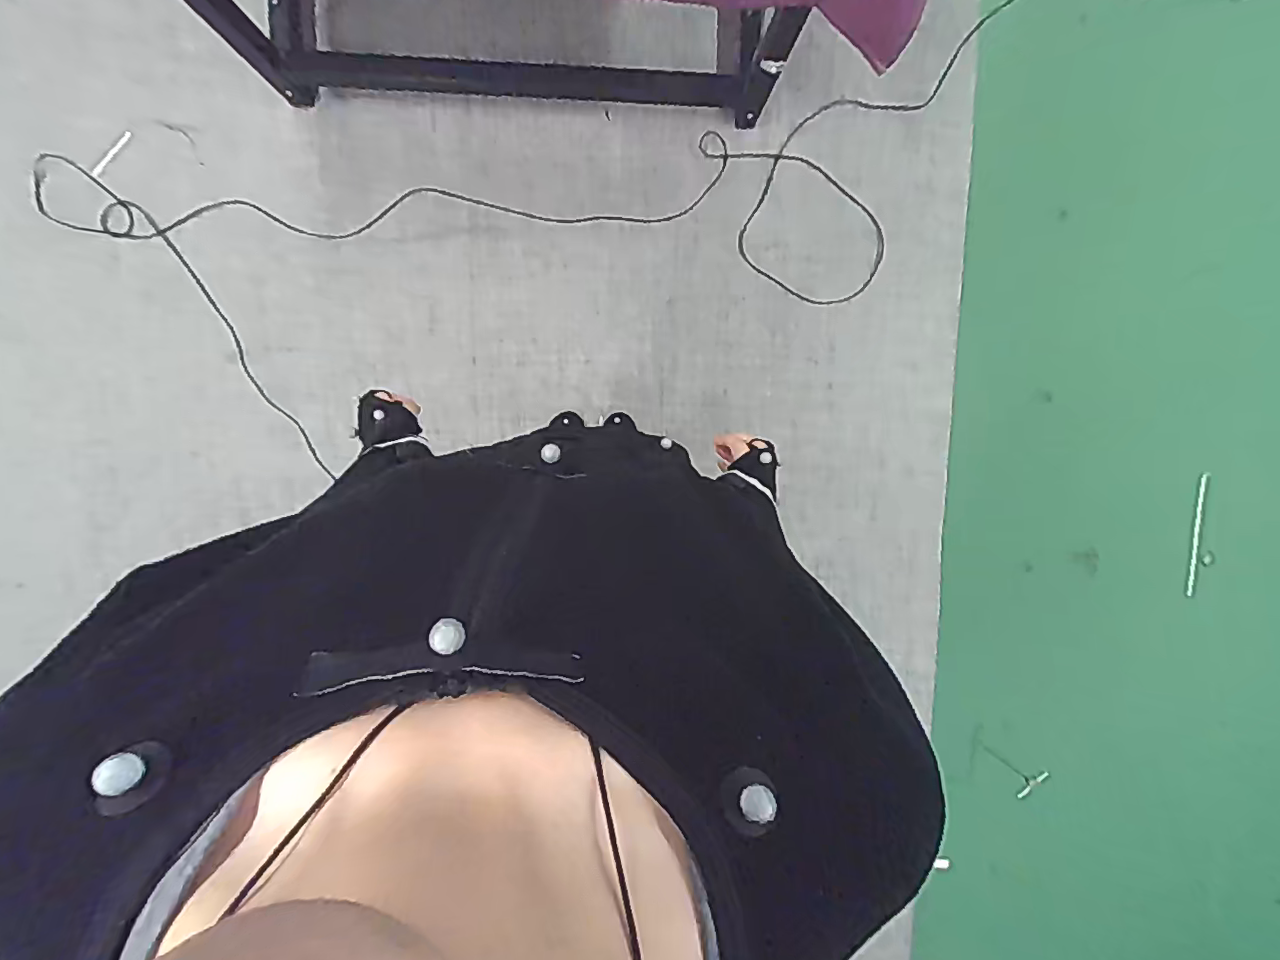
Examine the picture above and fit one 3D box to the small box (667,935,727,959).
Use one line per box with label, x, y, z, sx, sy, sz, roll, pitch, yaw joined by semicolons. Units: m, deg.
small box;0.173;1.509;1.612;0.179;0.176;0.168;-1;97;-3
